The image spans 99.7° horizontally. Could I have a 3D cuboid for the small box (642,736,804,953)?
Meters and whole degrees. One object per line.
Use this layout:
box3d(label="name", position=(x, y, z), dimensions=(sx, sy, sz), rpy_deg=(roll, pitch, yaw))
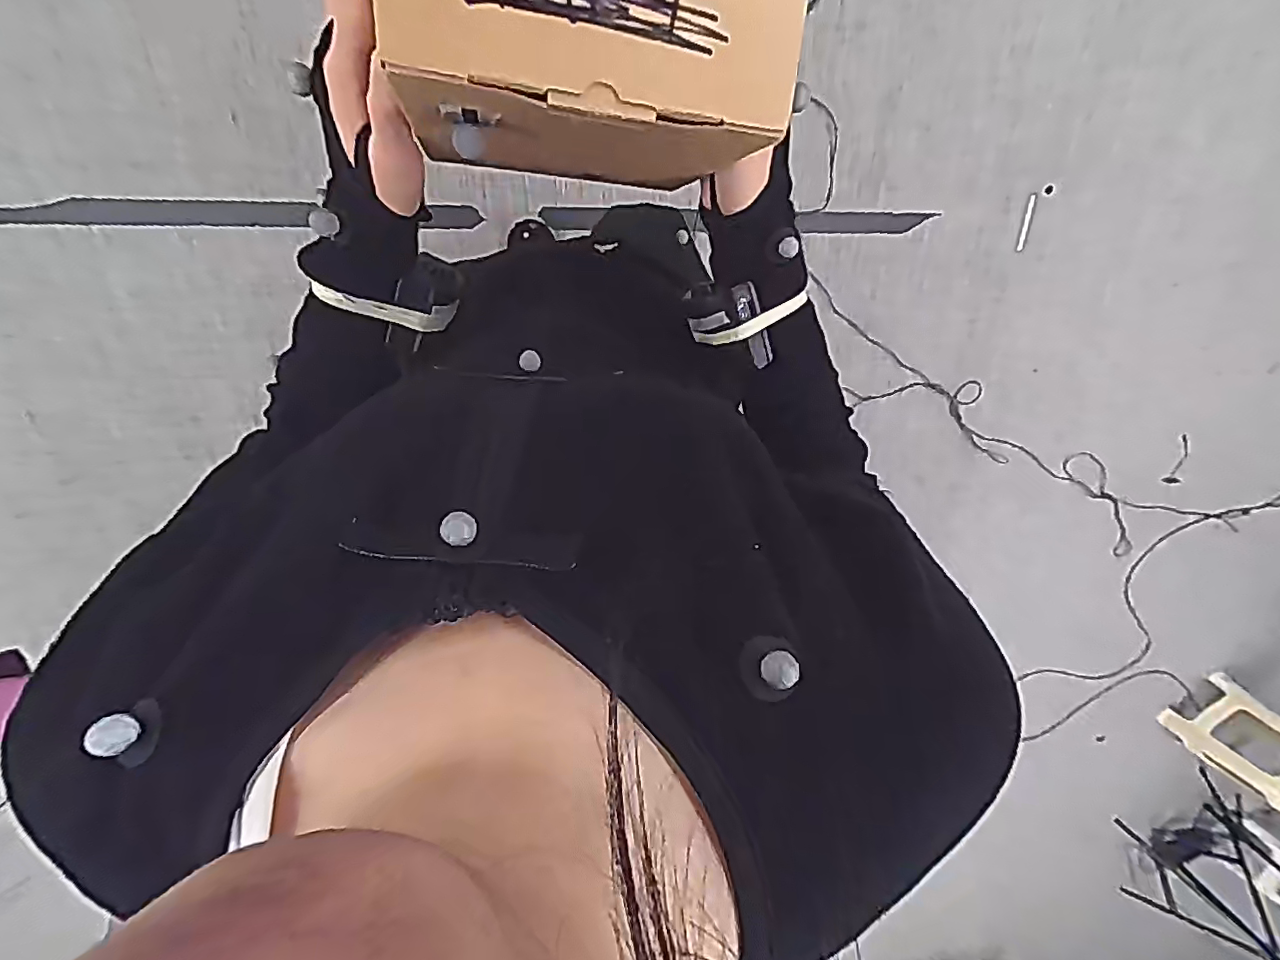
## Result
box3d(label="small box", position=(0.101, 0.484, 0.737), dimensions=(0.179, 0.176, 0.168), rpy_deg=(-9, 117, -9))

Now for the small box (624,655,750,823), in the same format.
box3d(label="small box", position=(0.070, 0.418, 0.882), dimensions=(0.168, 0.176, 0.179), rpy_deg=(-7, 115, -9))
